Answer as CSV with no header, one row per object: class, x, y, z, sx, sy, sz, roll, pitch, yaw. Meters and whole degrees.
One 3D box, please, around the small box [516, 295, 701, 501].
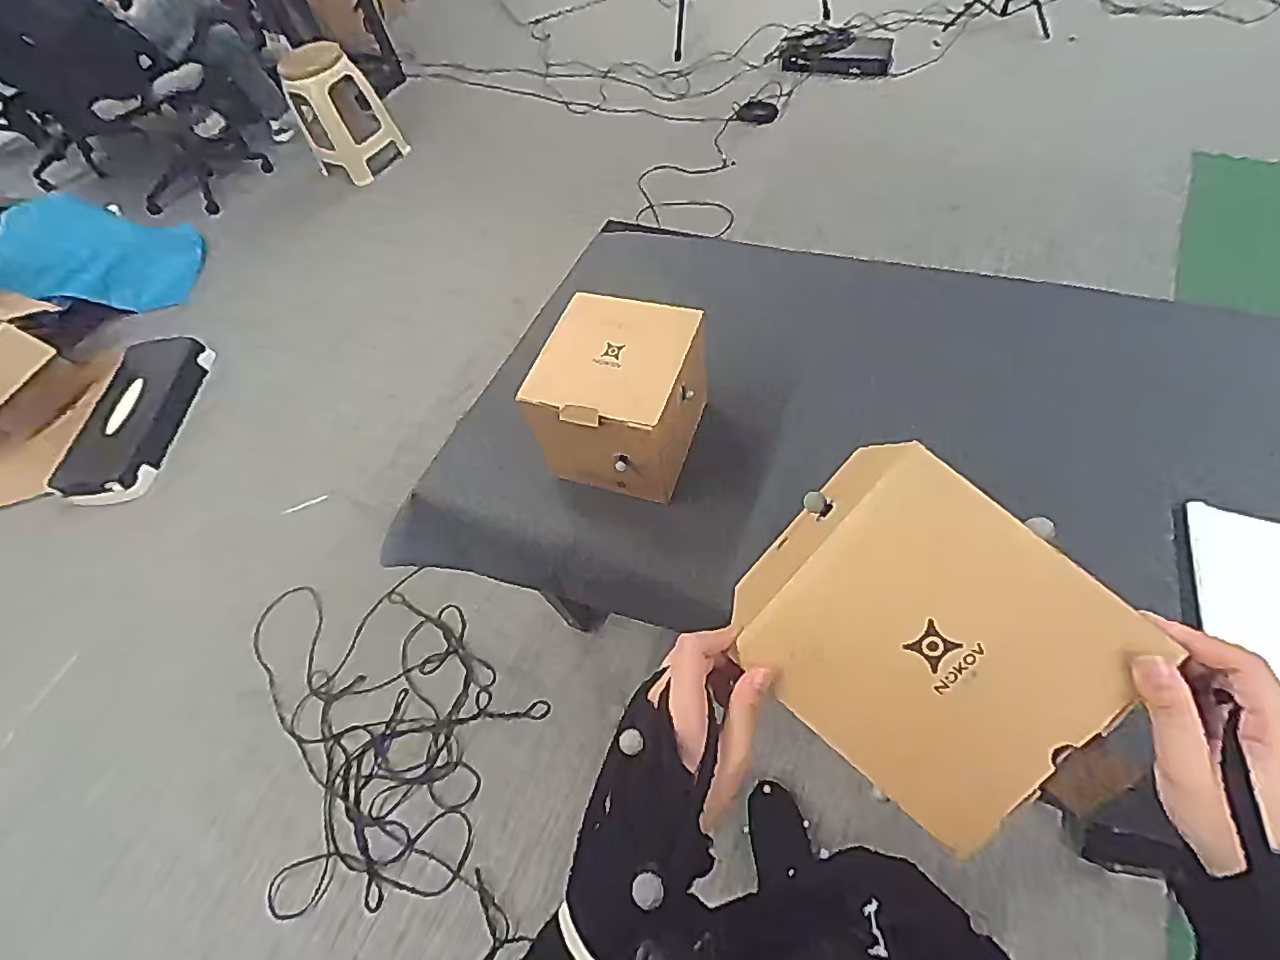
small box,-0.023,-0.097,0.674,0.168,0.176,0.179,14,61,16
